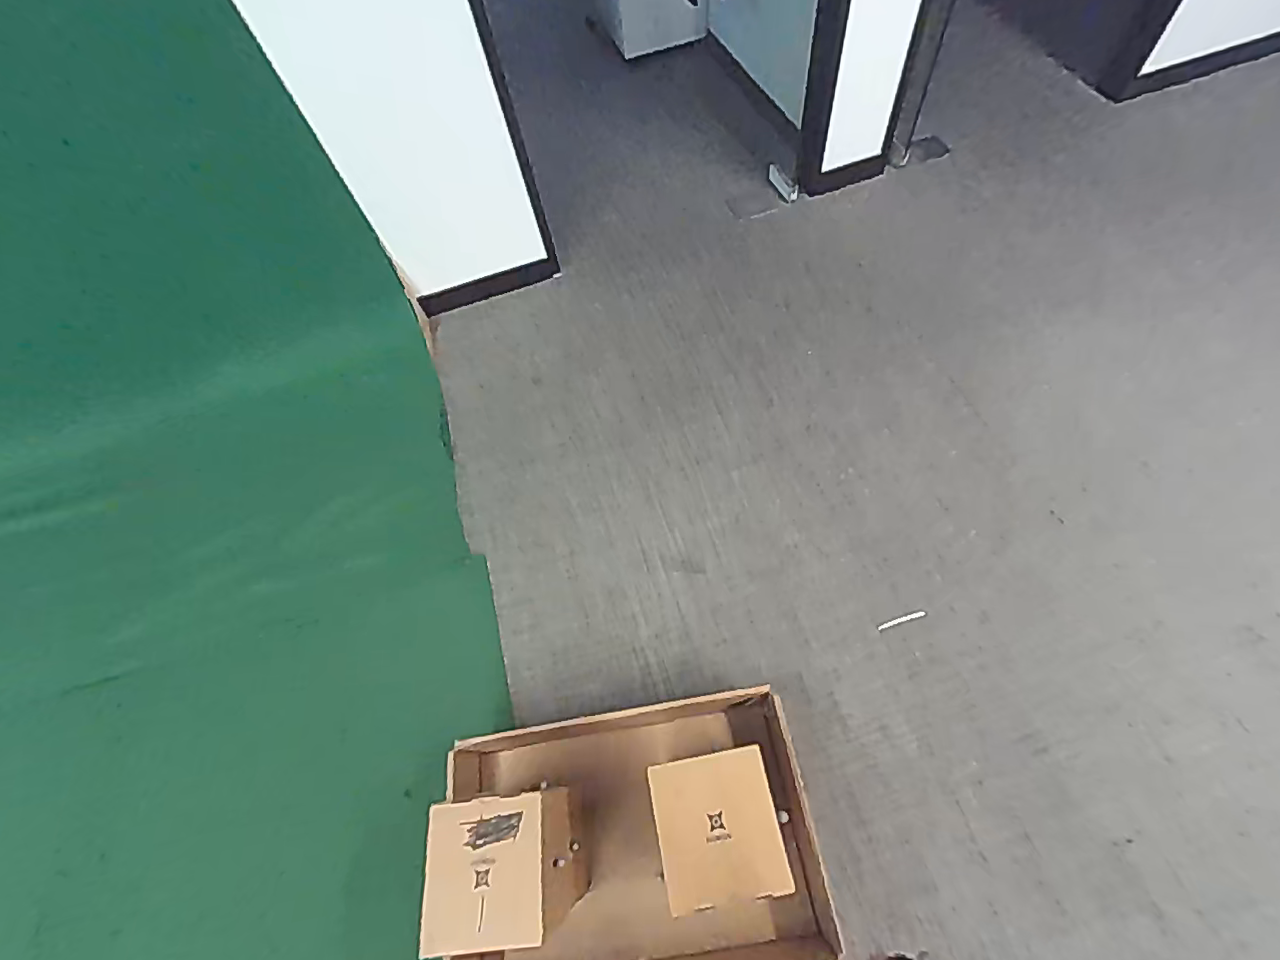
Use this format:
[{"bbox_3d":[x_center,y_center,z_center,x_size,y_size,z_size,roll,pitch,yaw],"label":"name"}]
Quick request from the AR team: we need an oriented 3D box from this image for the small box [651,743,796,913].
[{"bbox_3d":[0.115,0.503,0.799,0.168,0.176,0.179,-12,61,2],"label":"small box"}]

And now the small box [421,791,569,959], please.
[{"bbox_3d":[-0.203,0.570,0.804,0.168,0.176,0.179,-8,62,2],"label":"small box"}]
